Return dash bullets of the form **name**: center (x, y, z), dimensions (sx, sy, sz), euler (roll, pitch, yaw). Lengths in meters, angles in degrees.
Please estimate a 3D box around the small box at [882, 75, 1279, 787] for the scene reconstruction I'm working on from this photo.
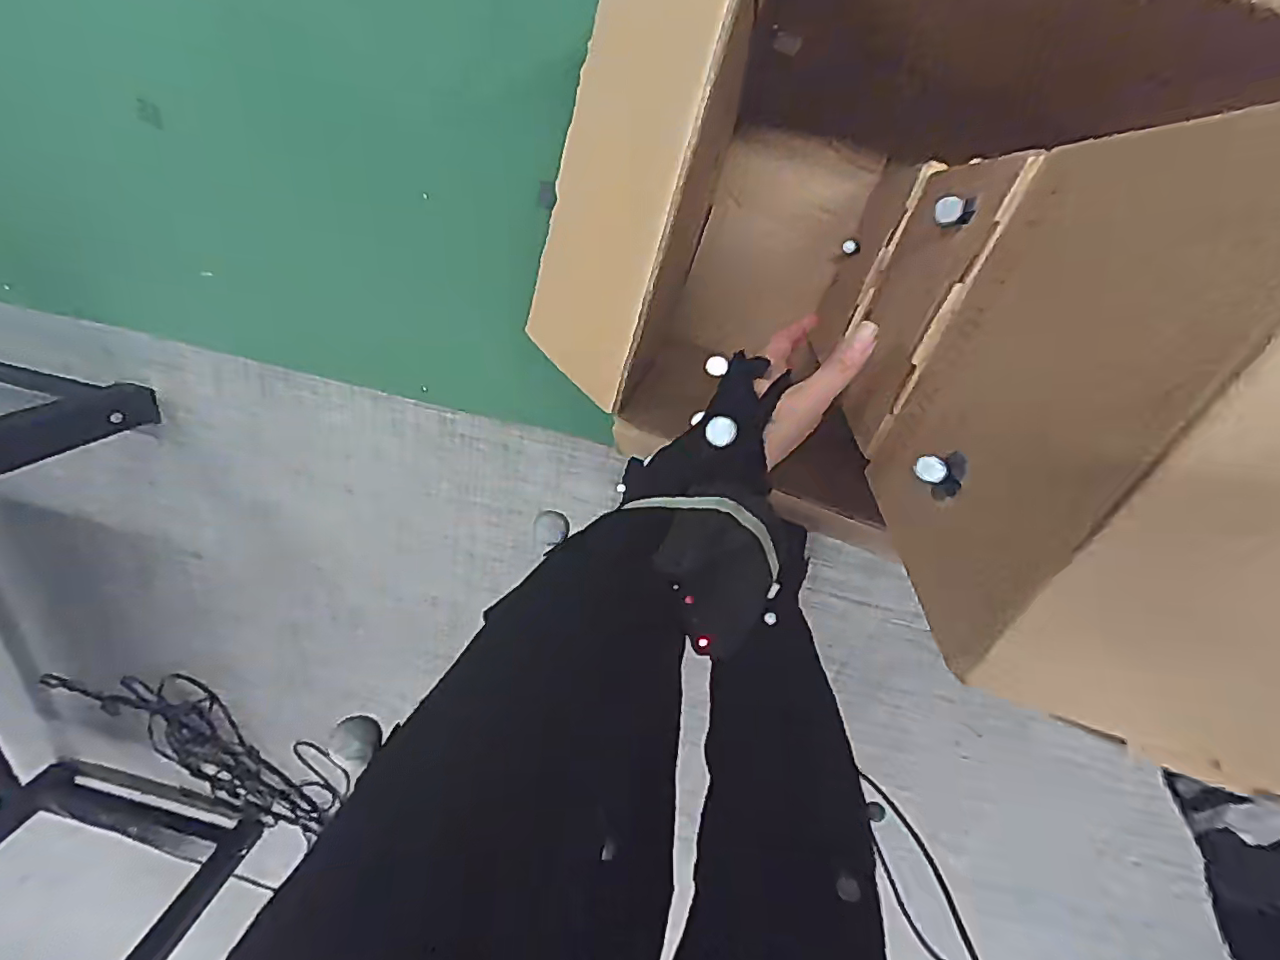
- **small box**: center (0.215, -0.018, 0.206), dimensions (0.168, 0.176, 0.179), euler (19, 117, 1)
